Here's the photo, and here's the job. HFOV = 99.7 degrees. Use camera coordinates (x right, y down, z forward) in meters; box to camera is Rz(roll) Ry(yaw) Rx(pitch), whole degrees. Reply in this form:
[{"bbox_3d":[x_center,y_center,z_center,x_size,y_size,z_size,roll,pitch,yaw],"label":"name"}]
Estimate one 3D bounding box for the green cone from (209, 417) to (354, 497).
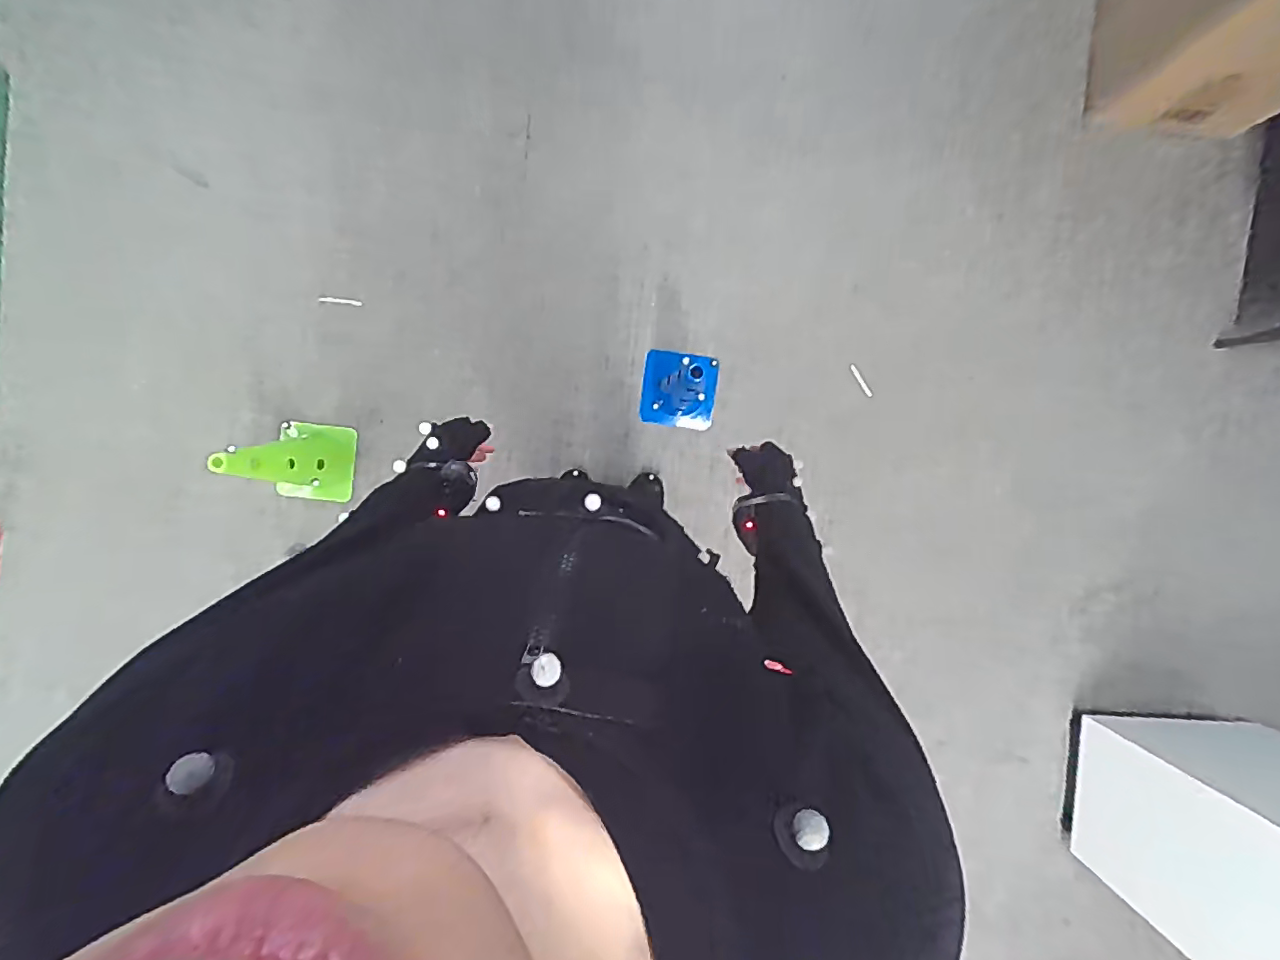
[{"bbox_3d":[-0.860,-0.049,1.265,0.202,0.368,0.200,5,93,-2],"label":"green cone"}]
